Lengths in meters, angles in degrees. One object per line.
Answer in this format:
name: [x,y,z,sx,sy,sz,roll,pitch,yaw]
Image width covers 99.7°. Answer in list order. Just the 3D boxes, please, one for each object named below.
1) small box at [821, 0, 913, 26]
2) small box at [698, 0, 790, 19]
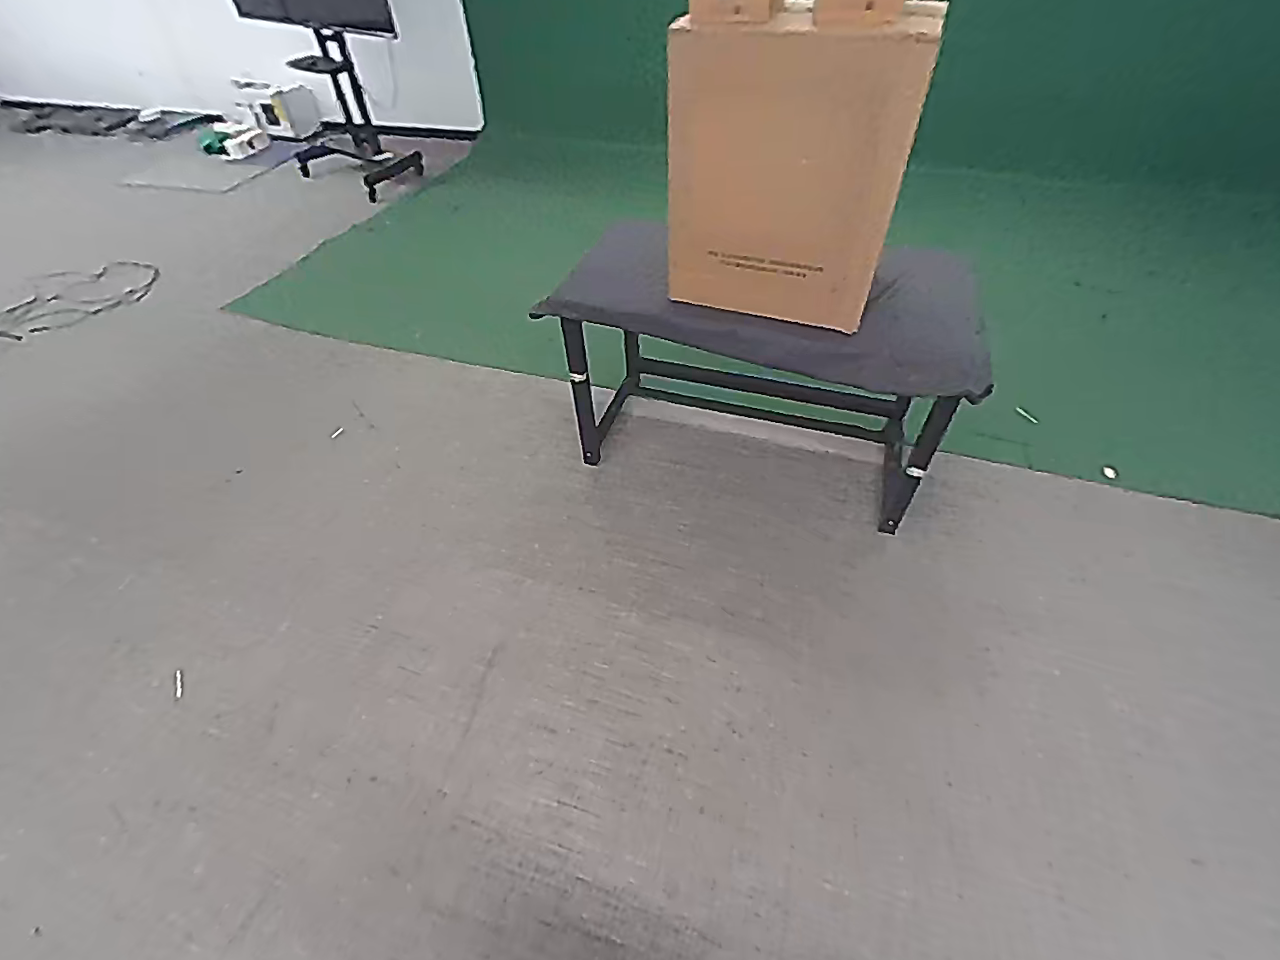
small box: [0.454,-0.995,1.032,0.168,0.176,0.179,15,52,11]
small box: [0.219,-1.053,1.082,0.168,0.176,0.179,17,53,18]
